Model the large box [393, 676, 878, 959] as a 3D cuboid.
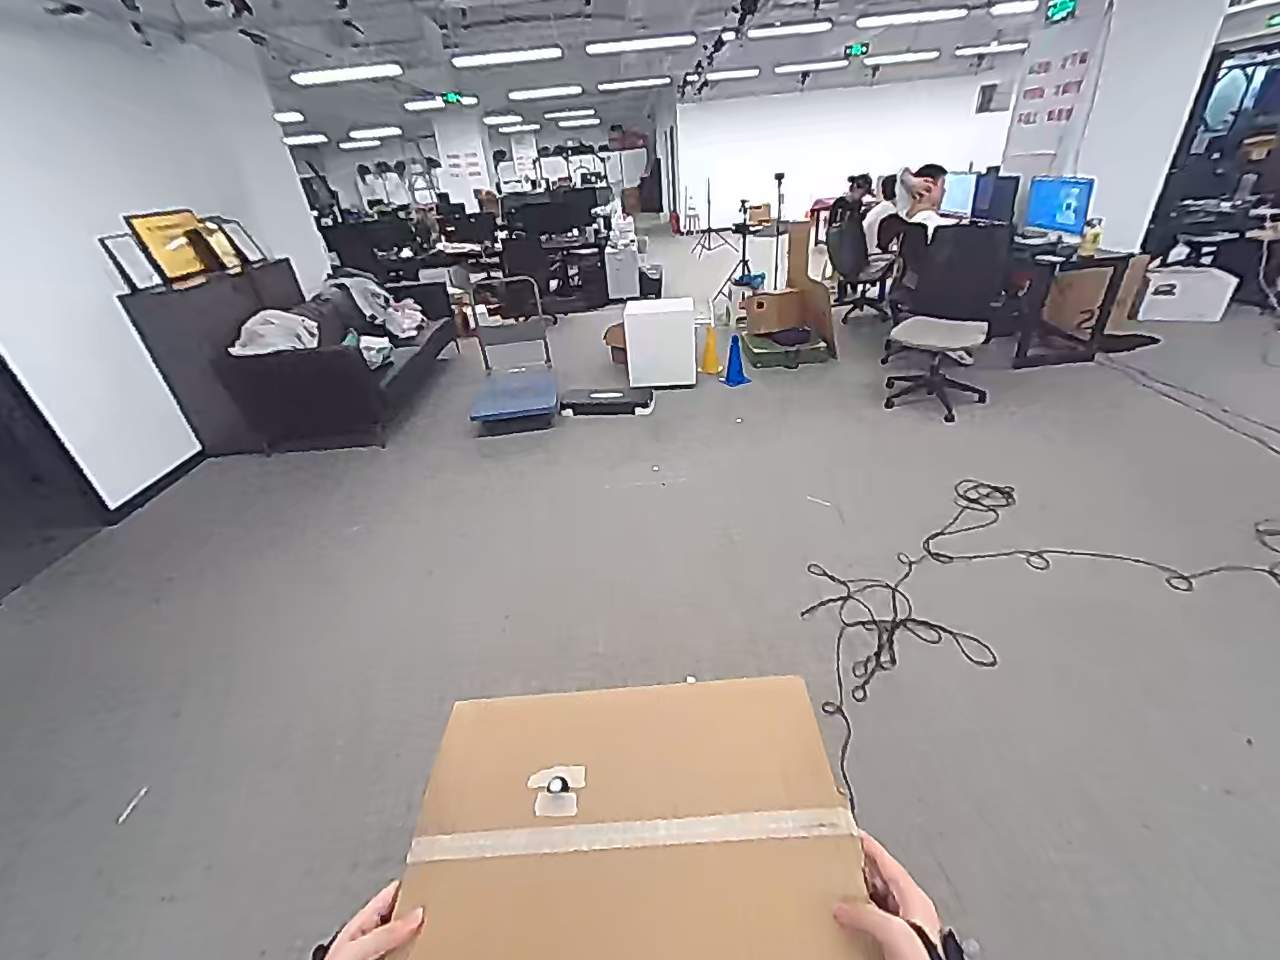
[{"bbox_3d":[0.008,0.458,0.593,0.408,0.320,0.320,-8,34,5],"label":"large box"}]
